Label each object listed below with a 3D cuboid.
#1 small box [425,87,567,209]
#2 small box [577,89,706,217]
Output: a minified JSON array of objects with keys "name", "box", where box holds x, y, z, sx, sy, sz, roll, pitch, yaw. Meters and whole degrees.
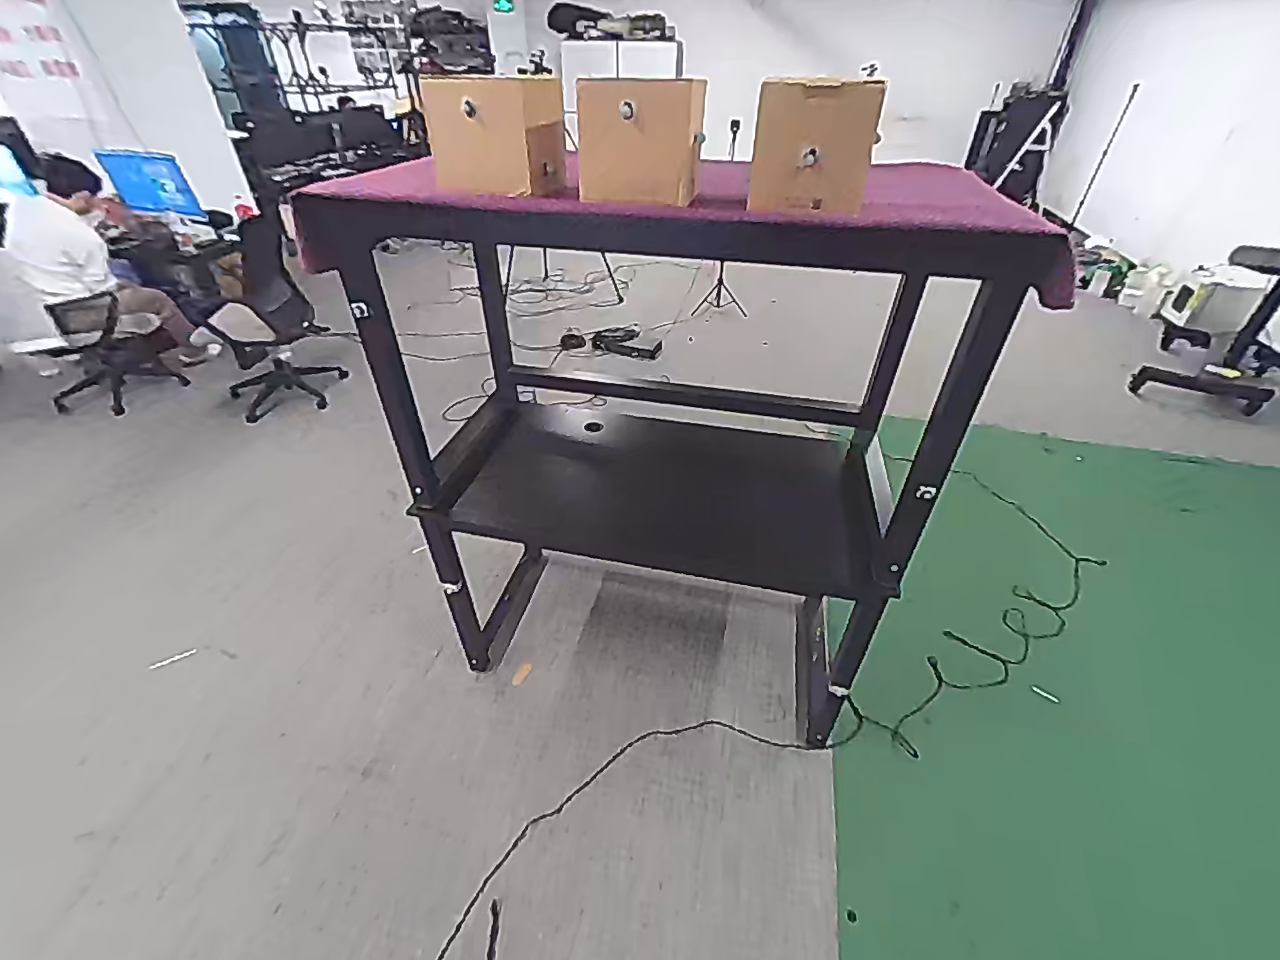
[{"name":"small box","box":[-0.239,-0.579,0.943,0.179,0.176,0.168,10,38,12]},{"name":"small box","box":[0.008,-0.541,0.897,0.179,0.176,0.168,7,36,10]}]
